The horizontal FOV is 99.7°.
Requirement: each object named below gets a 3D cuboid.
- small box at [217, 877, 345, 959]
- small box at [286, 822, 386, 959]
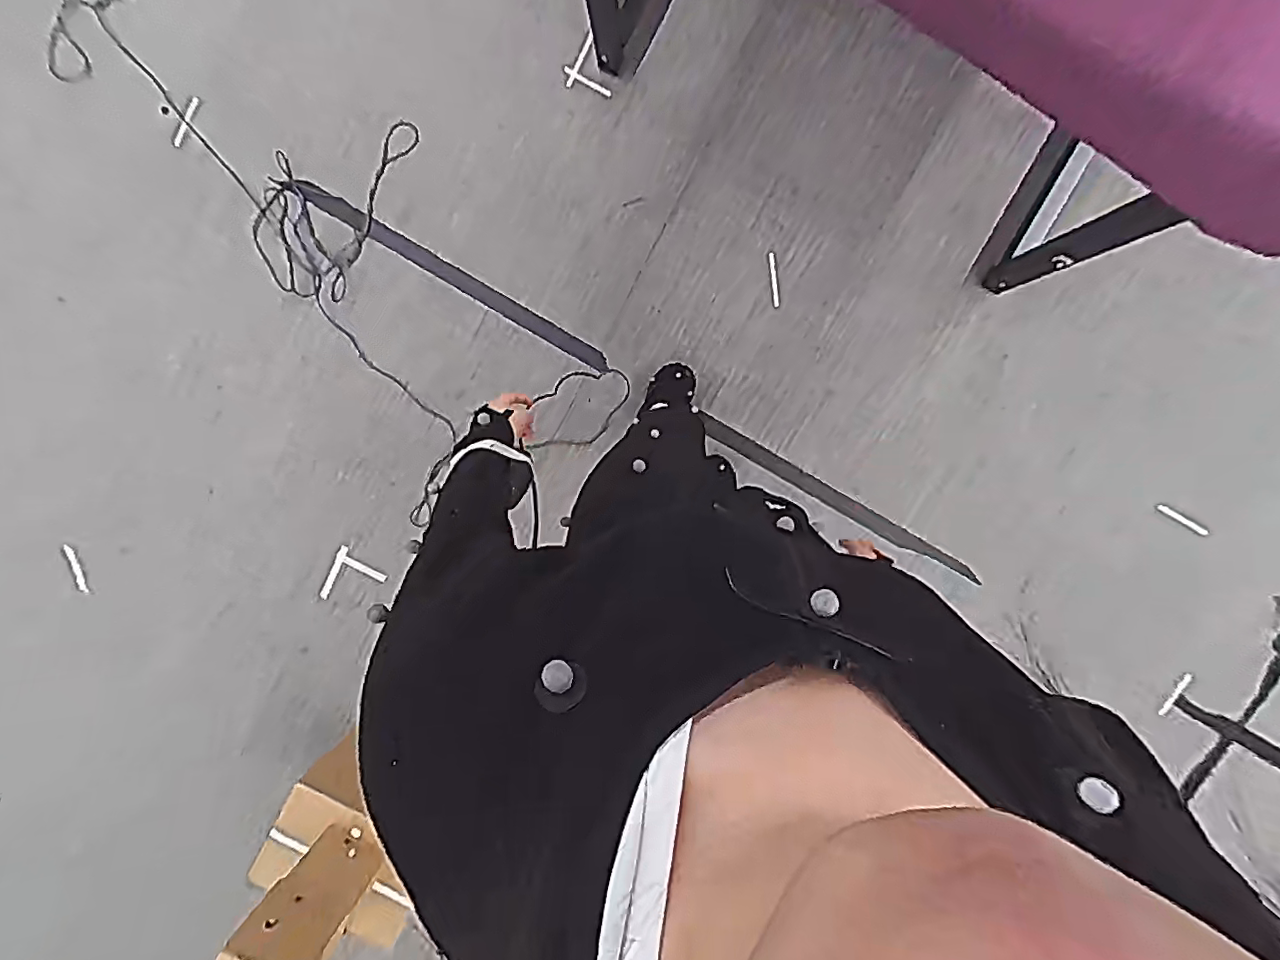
[{"bbox_3d":[-0.739,0.969,1.101,0.168,0.176,0.179,27,97,0],"label":"small box"},{"bbox_3d":[-0.731,0.958,1.263,0.168,0.176,0.179,28,96,-1],"label":"small box"}]
